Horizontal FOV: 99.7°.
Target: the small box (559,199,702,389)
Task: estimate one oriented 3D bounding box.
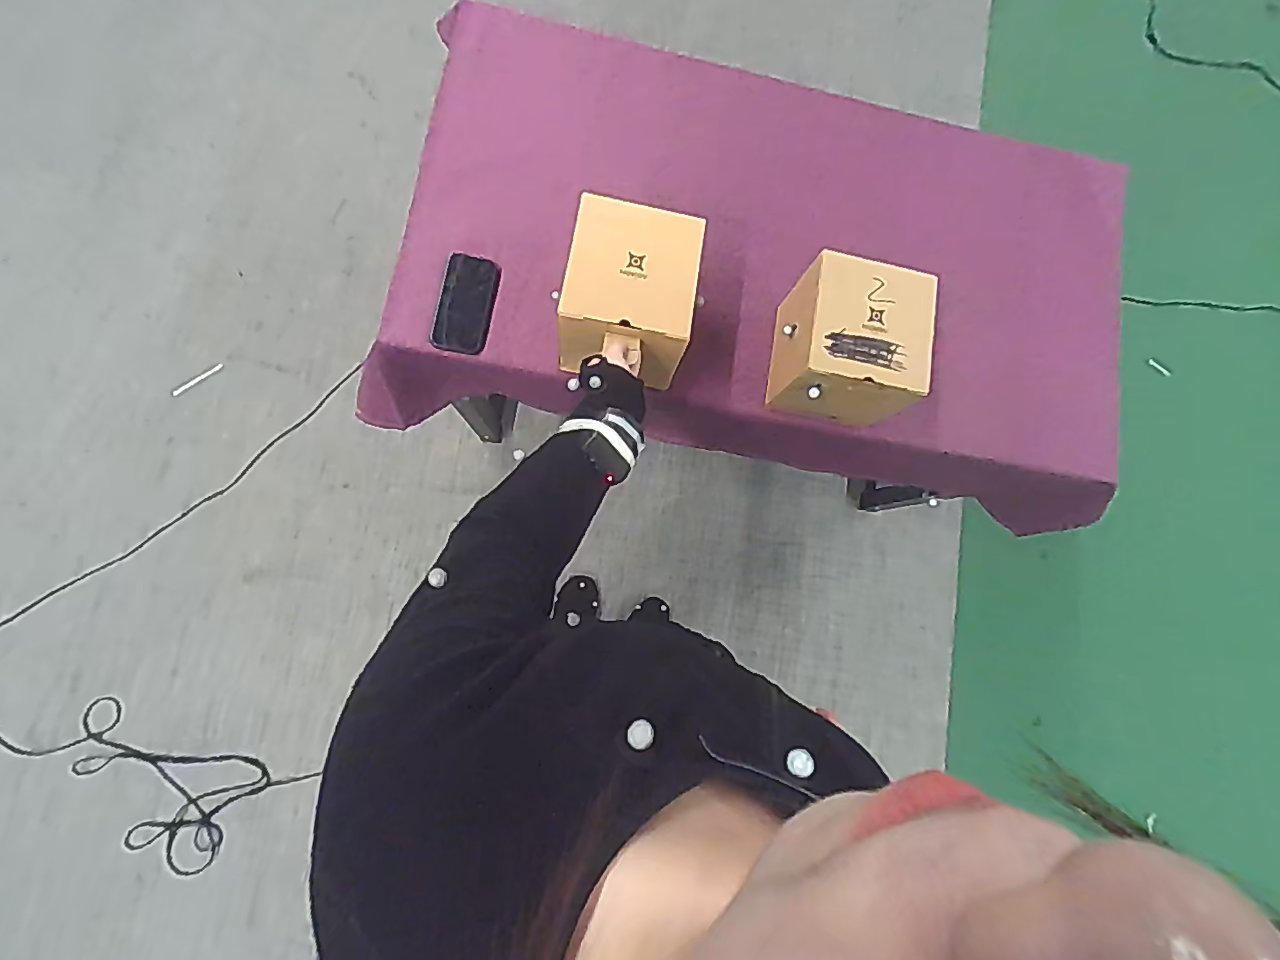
[{"bbox_3d":[-0.021,-0.251,0.765,0.168,0.176,0.179,10,78,-6],"label":"small box"}]
